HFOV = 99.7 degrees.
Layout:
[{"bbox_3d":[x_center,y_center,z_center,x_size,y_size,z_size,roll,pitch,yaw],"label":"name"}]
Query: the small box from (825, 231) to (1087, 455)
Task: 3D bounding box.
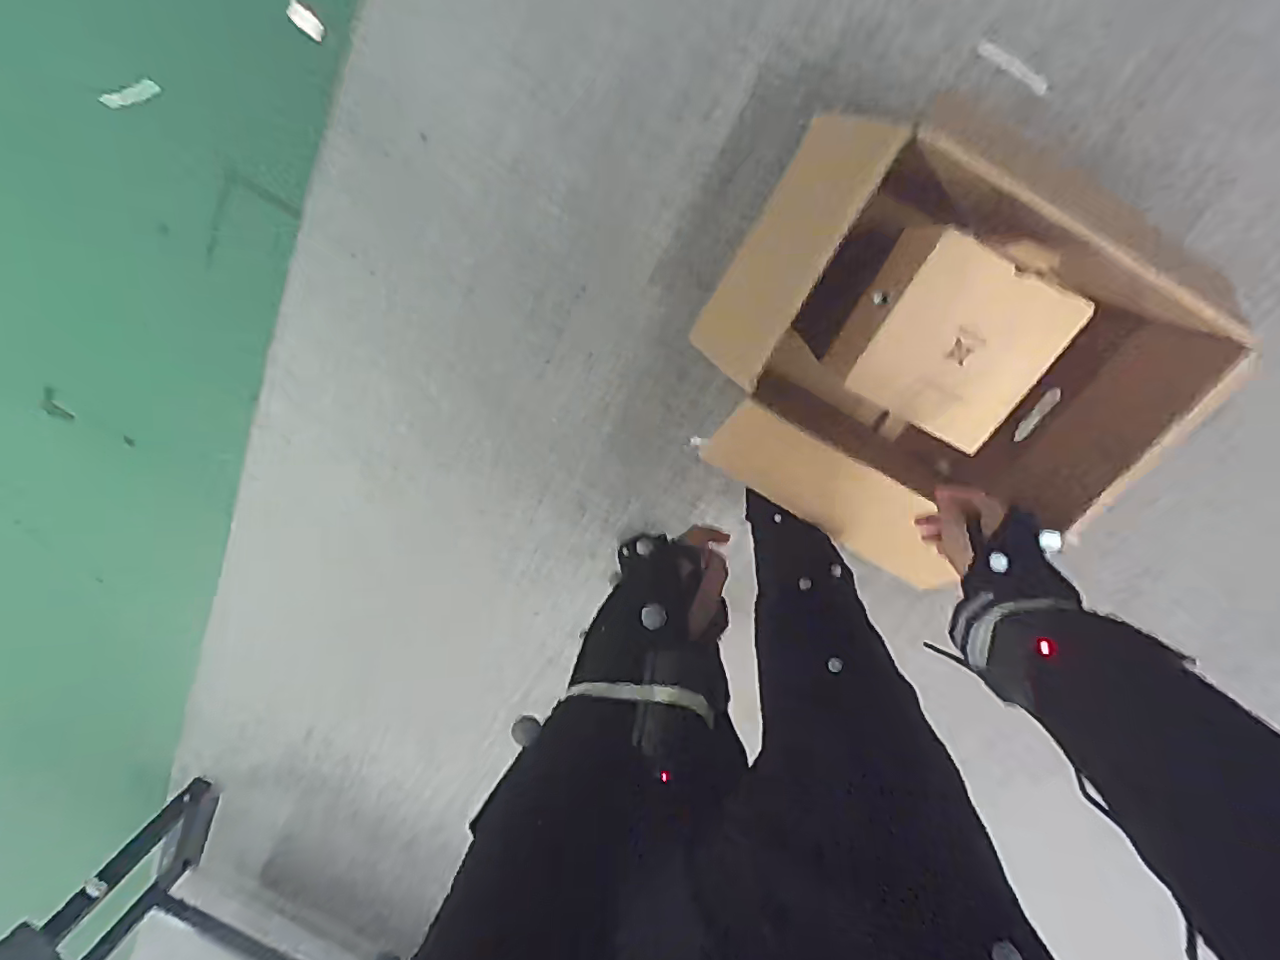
[{"bbox_3d":[0.335,-0.163,0.623,0.168,0.176,0.179,28,116,-2],"label":"small box"}]
